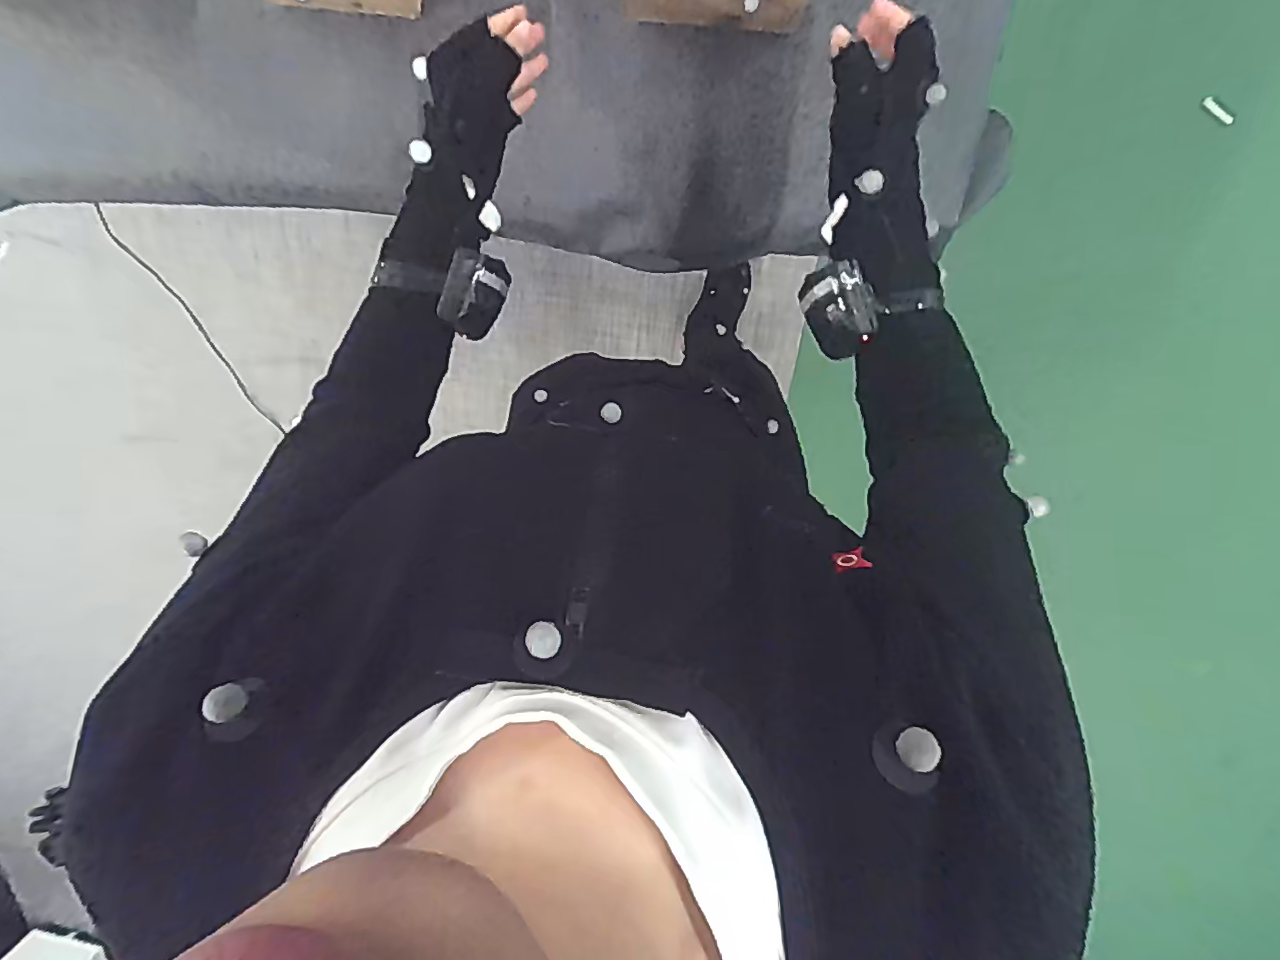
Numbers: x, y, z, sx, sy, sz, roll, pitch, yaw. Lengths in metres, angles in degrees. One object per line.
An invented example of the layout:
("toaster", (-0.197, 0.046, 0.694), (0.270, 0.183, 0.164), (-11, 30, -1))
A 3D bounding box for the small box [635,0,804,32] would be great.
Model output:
("small box", (0.072, -0.499, 0.432), (0.168, 0.176, 0.179), (8, 111, 4))

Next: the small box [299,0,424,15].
("small box", (-0.302, -0.544, 0.467), (0.168, 0.176, 0.179), (9, 113, 5))
